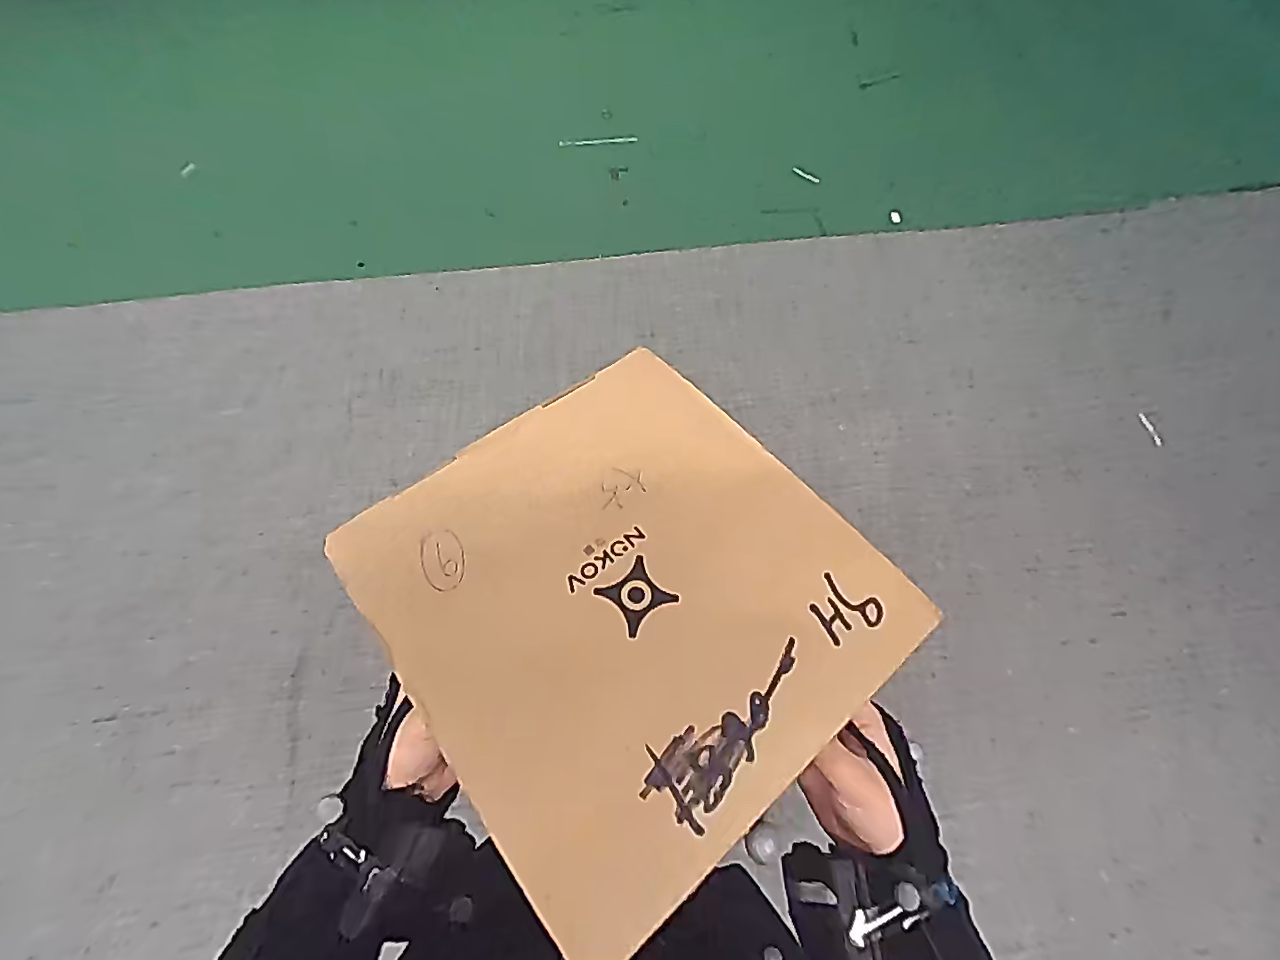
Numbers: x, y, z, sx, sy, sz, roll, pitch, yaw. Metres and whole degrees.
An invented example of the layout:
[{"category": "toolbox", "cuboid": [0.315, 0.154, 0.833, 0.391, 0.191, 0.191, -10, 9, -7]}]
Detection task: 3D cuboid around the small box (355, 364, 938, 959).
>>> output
[{"category": "small box", "cuboid": [-0.002, 0.081, 0.282, 0.168, 0.176, 0.179, -36, 66, -18]}]
